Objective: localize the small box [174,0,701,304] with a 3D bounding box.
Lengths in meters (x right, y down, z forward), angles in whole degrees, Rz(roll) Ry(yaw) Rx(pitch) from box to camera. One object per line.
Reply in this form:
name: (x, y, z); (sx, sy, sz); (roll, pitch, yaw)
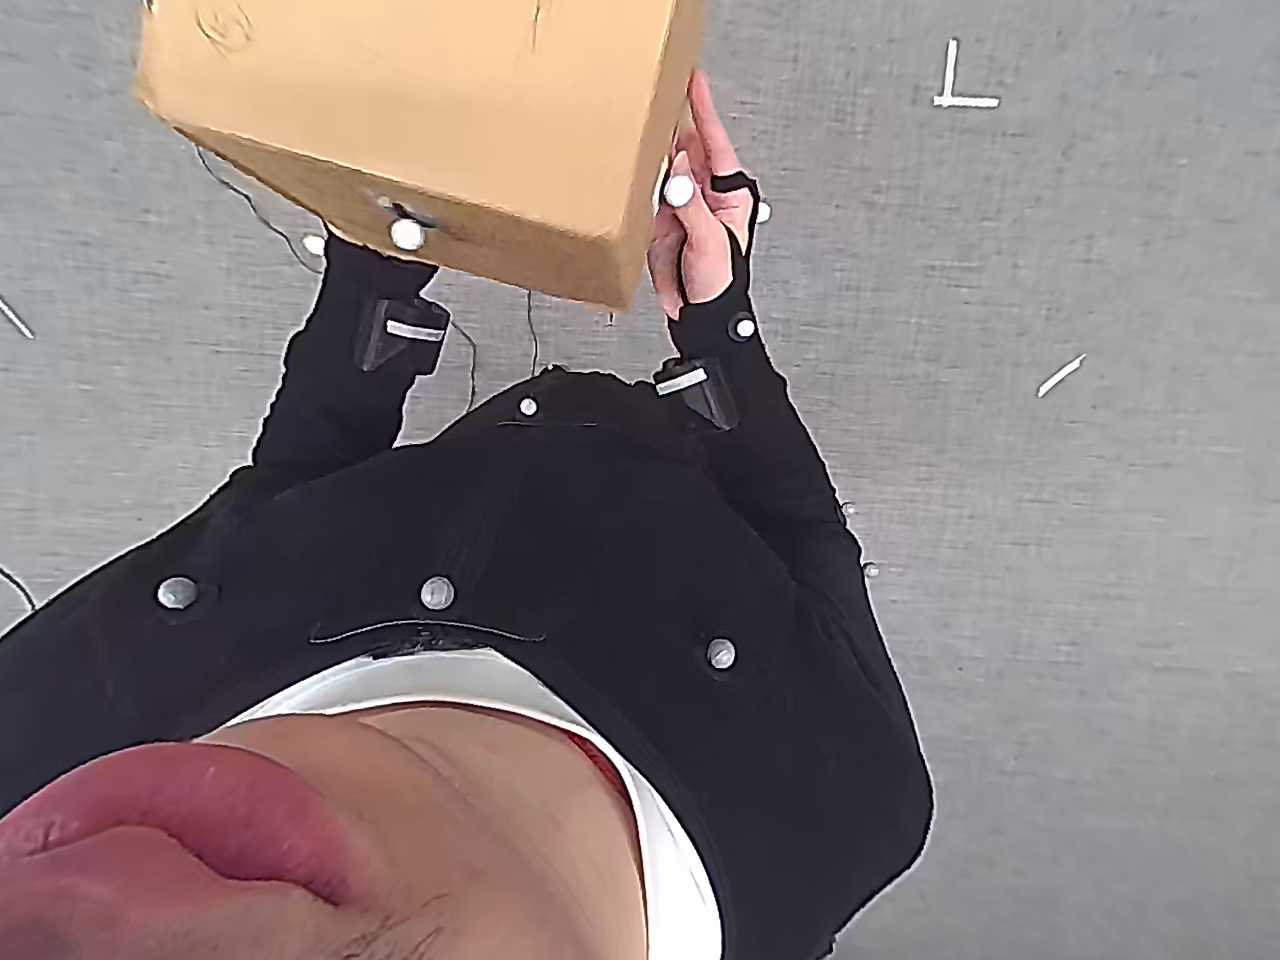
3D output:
small box: (-0.070, -0.198, 0.270); (0.179, 0.176, 0.168); (12, 98, -1)
